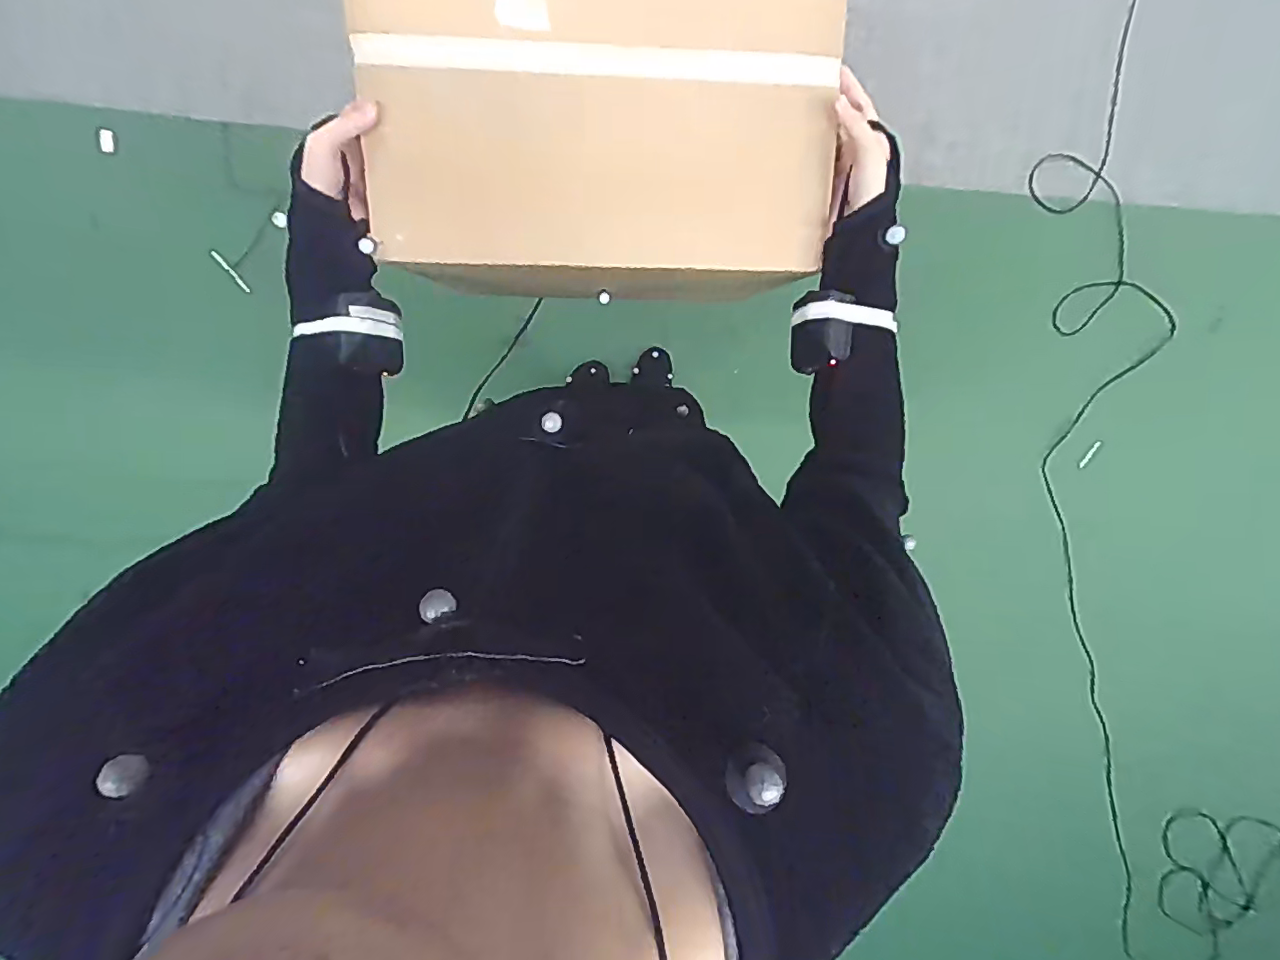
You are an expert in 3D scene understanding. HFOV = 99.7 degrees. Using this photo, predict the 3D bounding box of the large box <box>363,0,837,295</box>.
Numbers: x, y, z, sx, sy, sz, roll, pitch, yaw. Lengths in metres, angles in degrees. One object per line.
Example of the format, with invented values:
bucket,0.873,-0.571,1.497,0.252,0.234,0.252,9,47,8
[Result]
large box,-0.037,-0.381,0.608,0.408,0.320,0.320,0,103,-4
